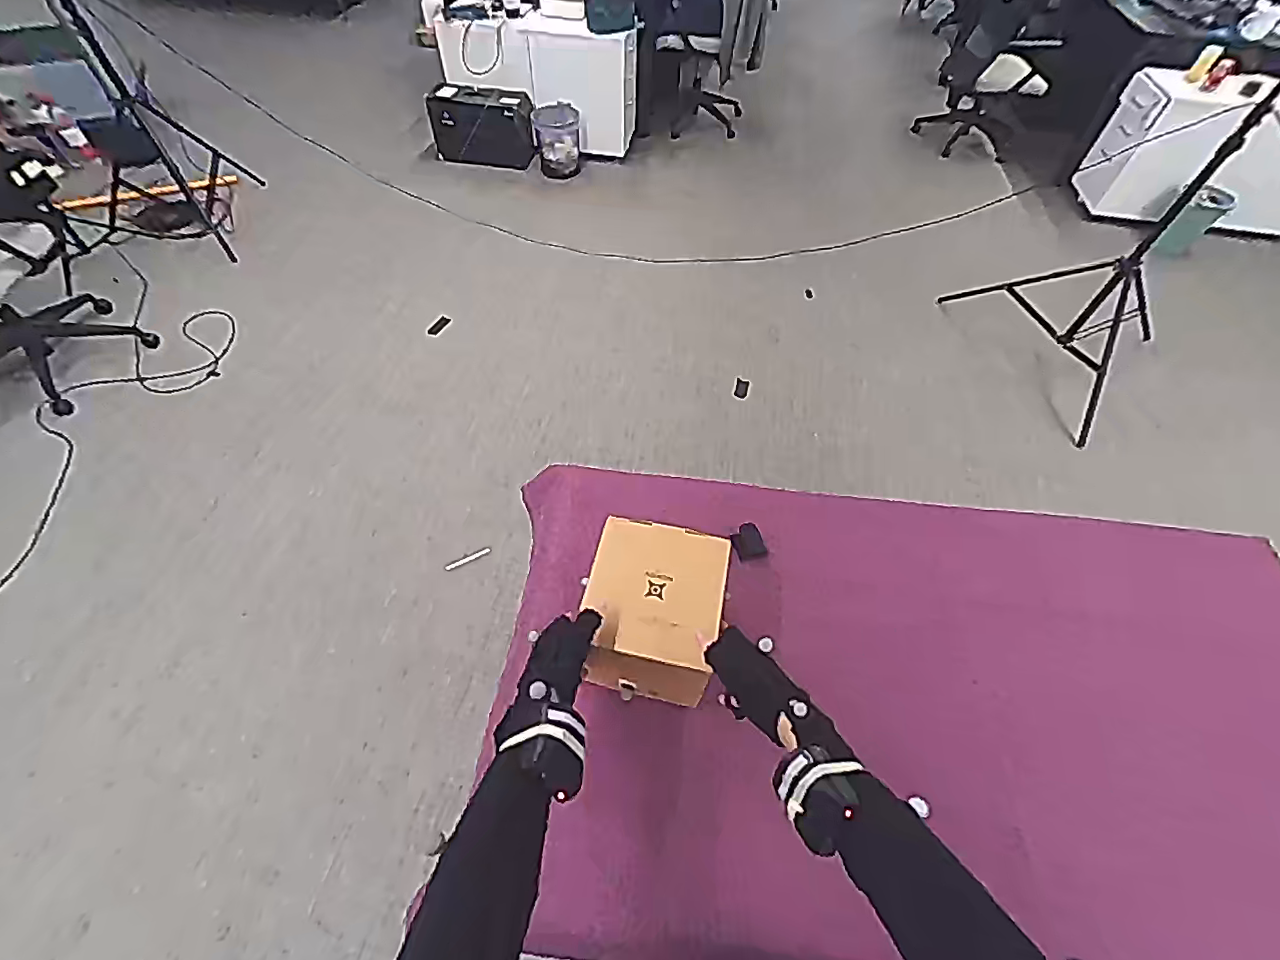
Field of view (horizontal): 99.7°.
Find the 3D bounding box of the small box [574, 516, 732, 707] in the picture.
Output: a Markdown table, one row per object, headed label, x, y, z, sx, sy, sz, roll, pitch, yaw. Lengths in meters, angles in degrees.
| label | x | y | z | sx | sy | sz | roll | pitch | yaw |
| --- | --- | --- | --- | --- | --- | --- | --- | --- | --- |
| small box | 0.019 | 0.176 | 0.714 | 0.168 | 0.176 | 0.179 | 10 | 55 | 6 |
